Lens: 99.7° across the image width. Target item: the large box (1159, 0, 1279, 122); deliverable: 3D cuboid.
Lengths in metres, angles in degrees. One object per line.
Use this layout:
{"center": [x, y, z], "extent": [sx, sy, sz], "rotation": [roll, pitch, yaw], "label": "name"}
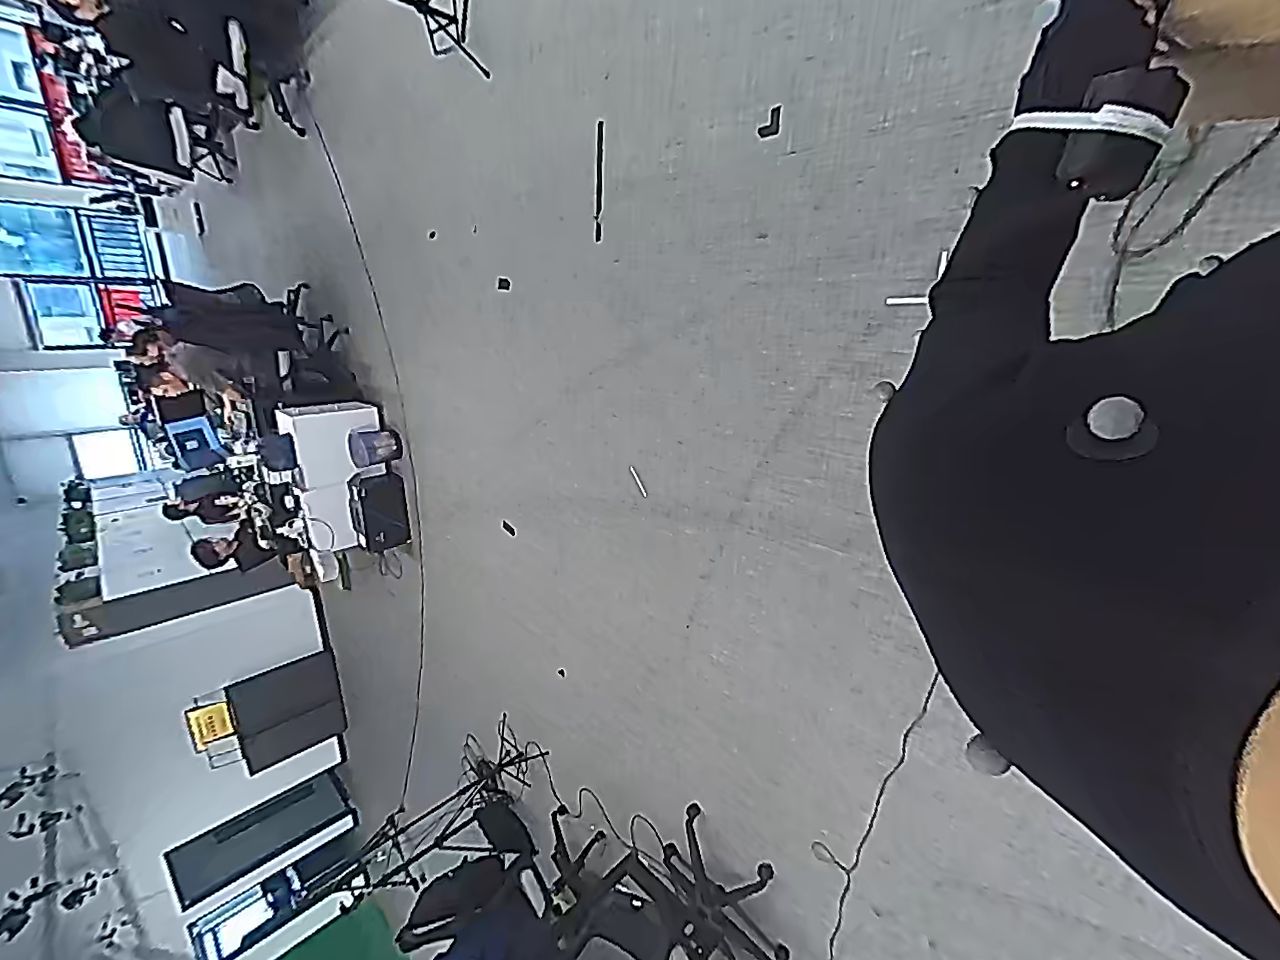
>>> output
{"center": [0.583, -0.402, 0.268], "extent": [0.408, 0.320, 0.320], "rotation": [23, 123, 38], "label": "large box"}
